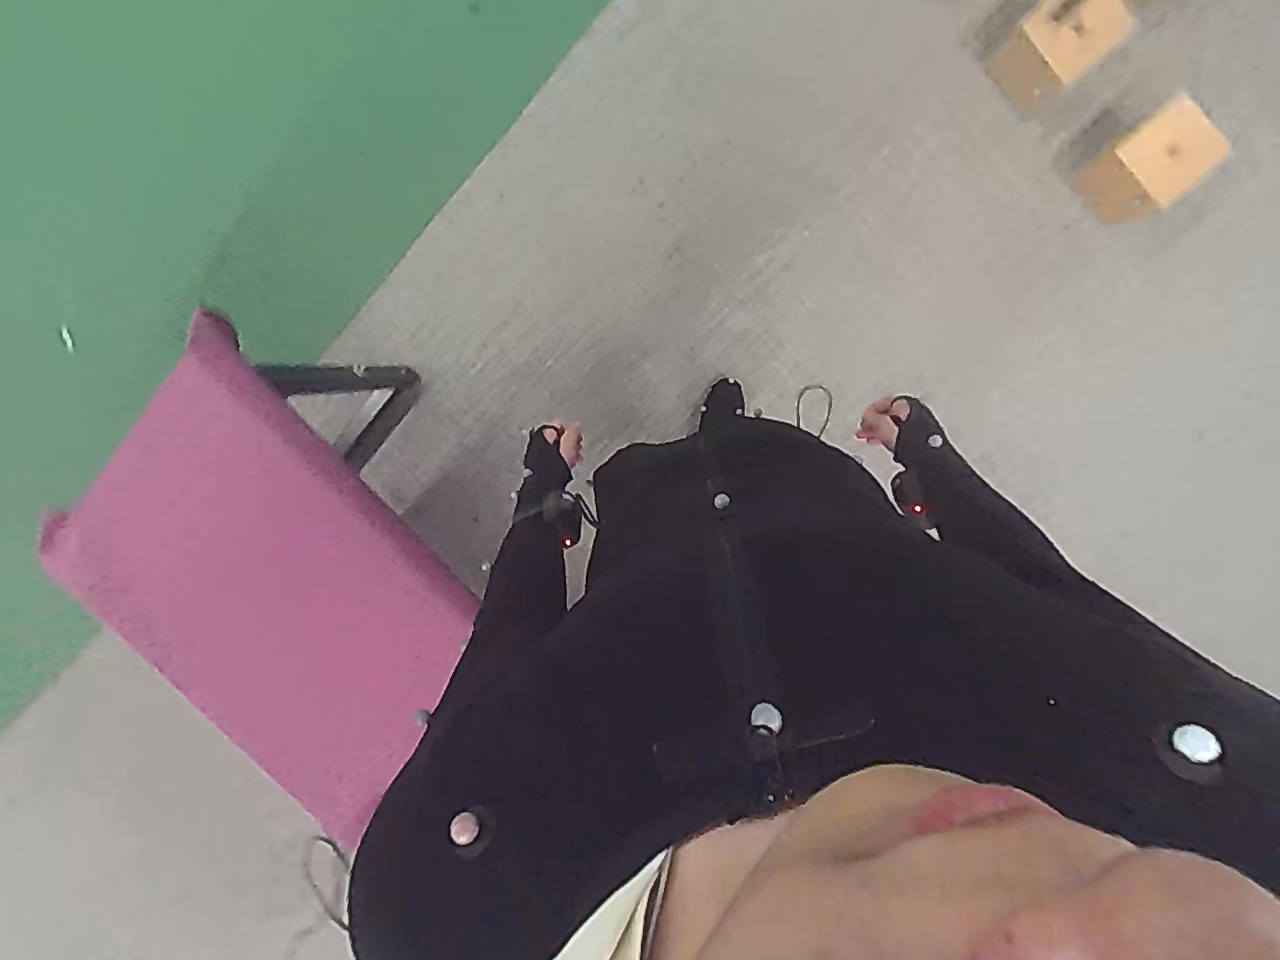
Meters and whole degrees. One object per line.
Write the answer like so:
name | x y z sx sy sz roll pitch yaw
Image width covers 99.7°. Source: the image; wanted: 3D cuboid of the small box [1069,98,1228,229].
small box | 1.166 -0.722 1.259 0.179 0.176 0.168 45 103 -3
